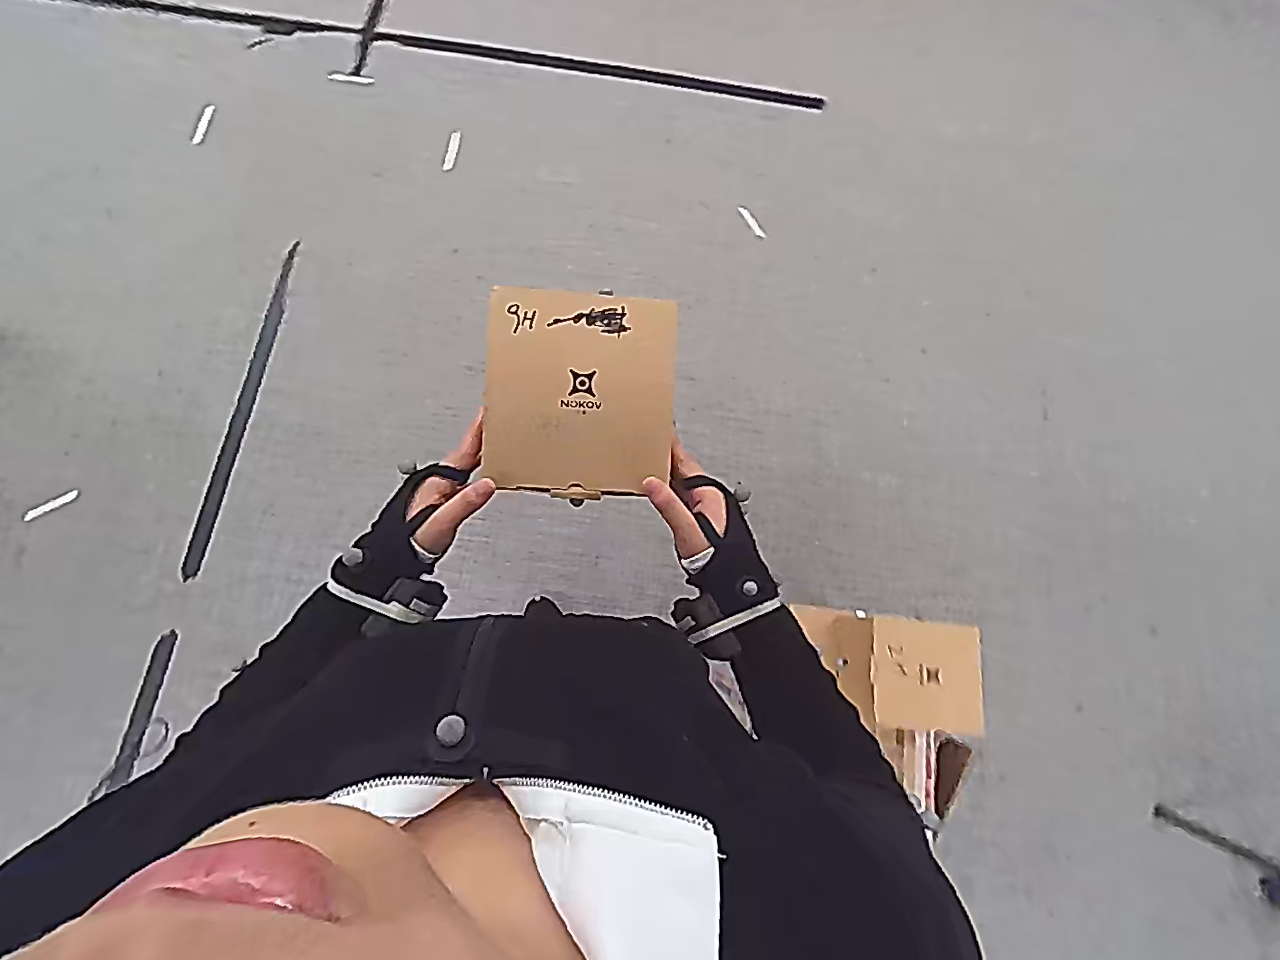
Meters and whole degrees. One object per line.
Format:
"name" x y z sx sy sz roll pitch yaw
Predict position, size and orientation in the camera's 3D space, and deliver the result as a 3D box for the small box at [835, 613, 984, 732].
"small box" 0.456 0.322 0.934 0.179 0.176 0.168 6 75 1
